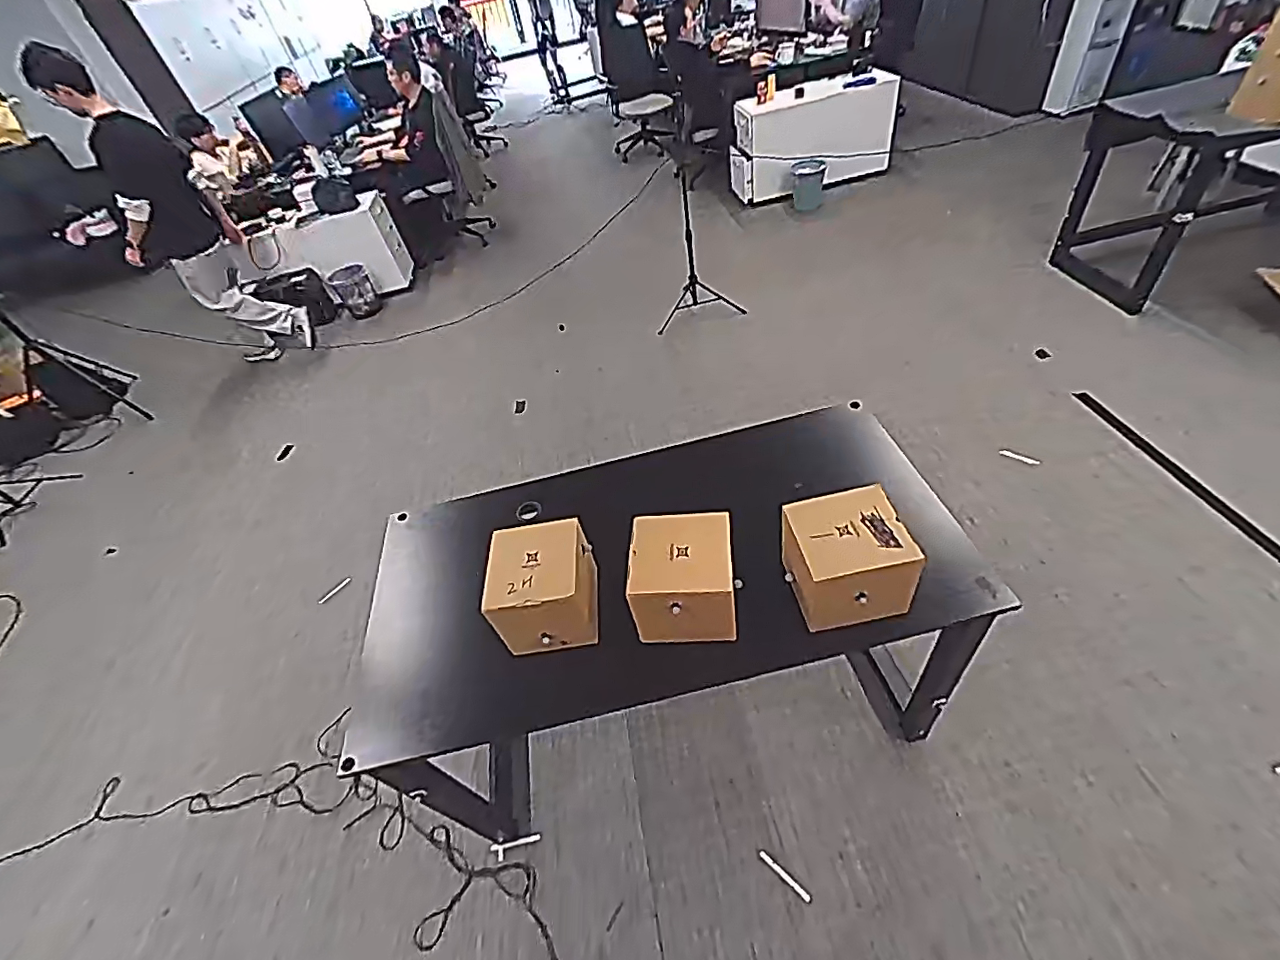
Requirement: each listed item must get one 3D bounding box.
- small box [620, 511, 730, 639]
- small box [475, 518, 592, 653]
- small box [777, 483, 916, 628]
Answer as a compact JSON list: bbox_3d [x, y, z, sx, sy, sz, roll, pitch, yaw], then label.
[{"bbox_3d":[0.071,0.175,0.976,0.179,0.176,0.168,-5,46,10],"label":"small box"},{"bbox_3d":[-0.189,0.198,1.012,0.168,0.176,0.179,-10,46,5],"label":"small box"},{"bbox_3d":[0.347,0.134,0.946,0.179,0.176,0.168,-14,45,3],"label":"small box"}]
